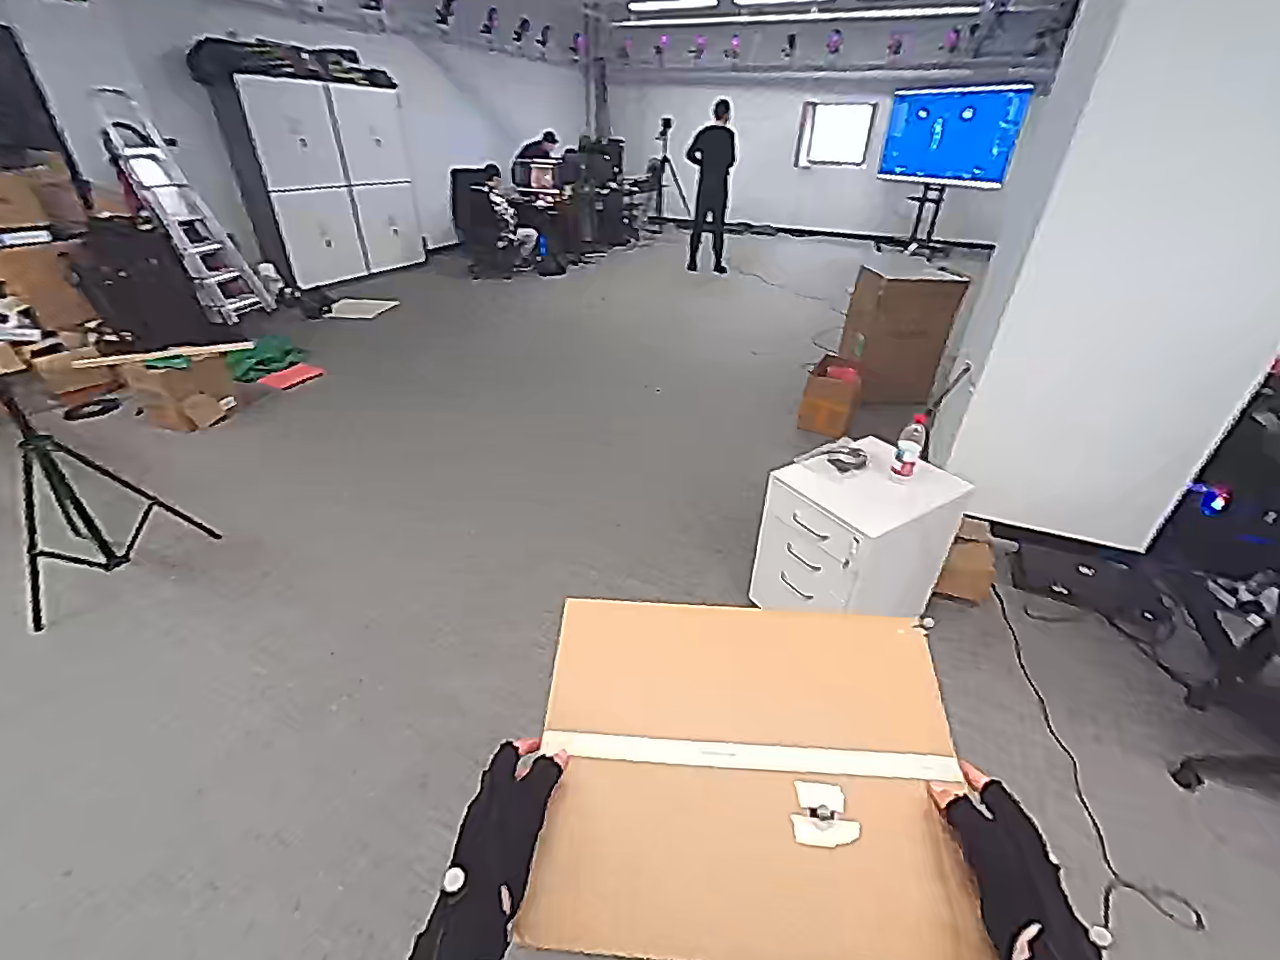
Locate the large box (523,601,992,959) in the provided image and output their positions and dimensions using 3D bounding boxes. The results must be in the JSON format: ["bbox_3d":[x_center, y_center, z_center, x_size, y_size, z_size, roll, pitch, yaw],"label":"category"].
[{"bbox_3d":[0.103,0.363,0.661,0.408,0.320,0.320,2,52,3],"label":"large box"}]
